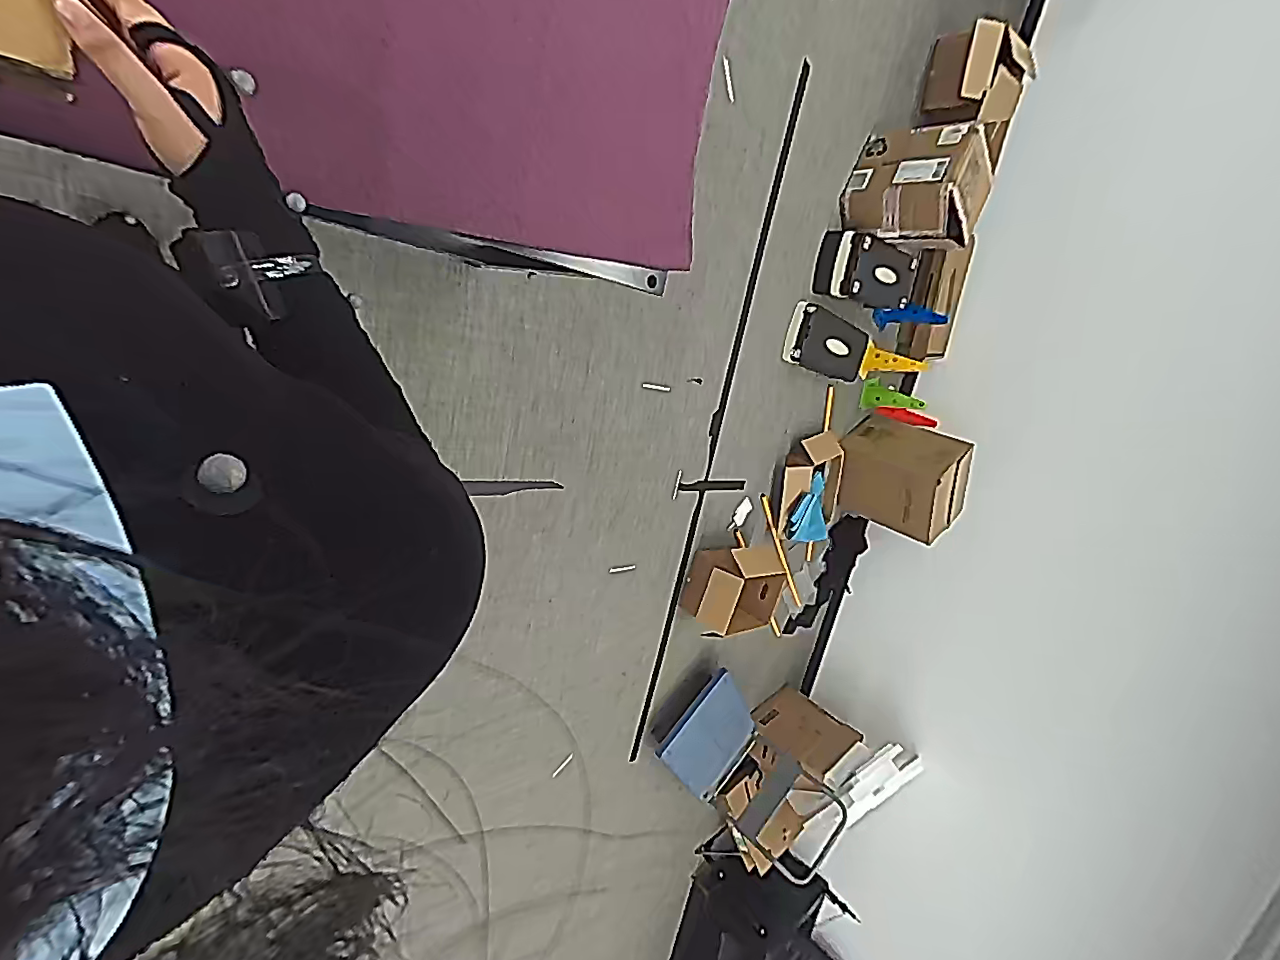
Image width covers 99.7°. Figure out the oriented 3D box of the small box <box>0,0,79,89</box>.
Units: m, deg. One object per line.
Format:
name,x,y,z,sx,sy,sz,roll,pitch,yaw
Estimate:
small box,-0.428,-0.332,0.281,0.179,0.176,0.168,-8,116,-48
